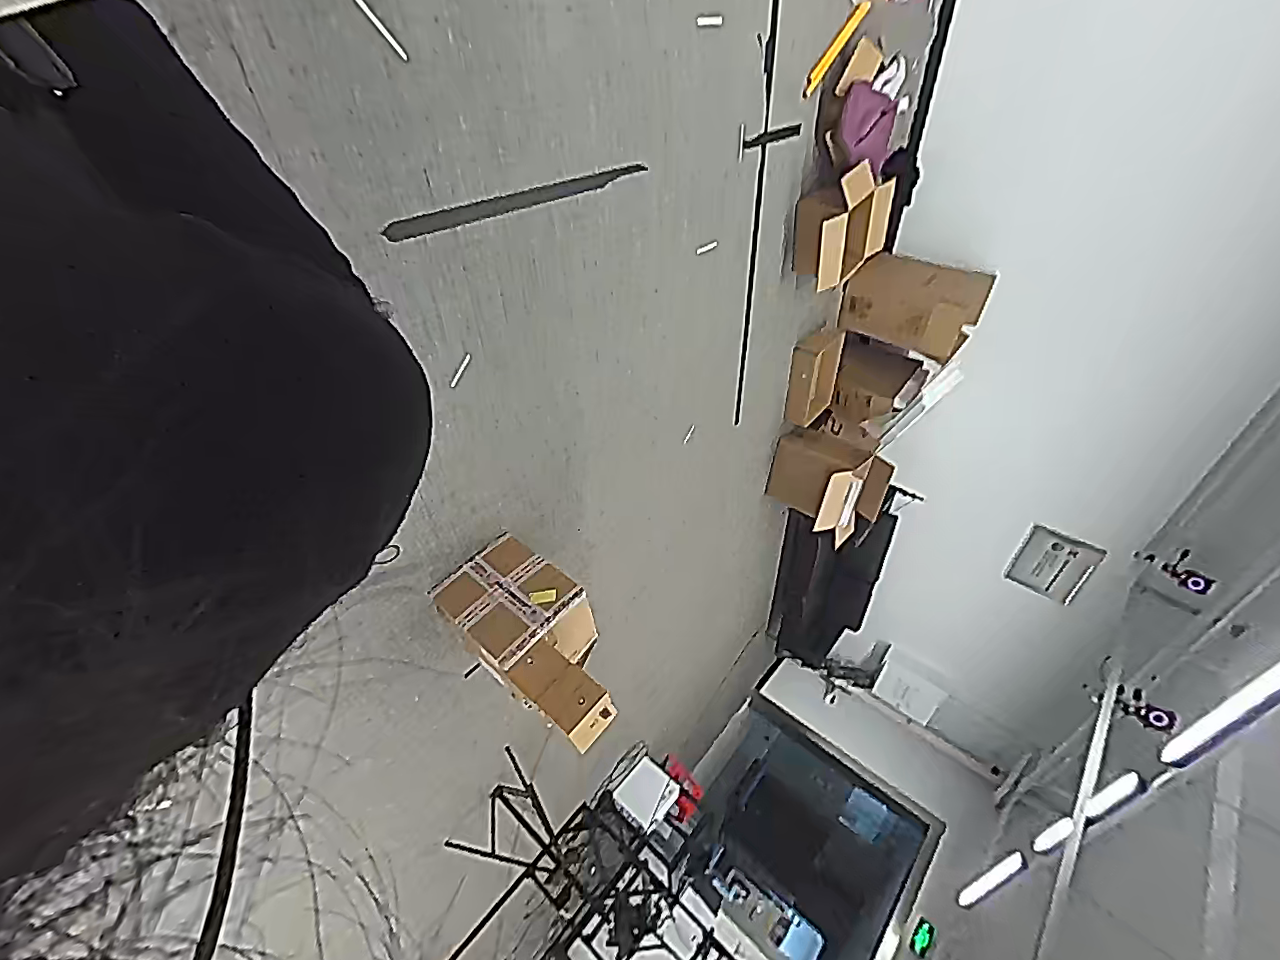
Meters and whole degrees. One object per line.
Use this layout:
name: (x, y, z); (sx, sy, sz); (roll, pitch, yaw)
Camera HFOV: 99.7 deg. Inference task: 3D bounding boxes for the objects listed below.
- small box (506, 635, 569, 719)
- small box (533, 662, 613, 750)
small box: (-0.342, 0.680, 1.876); (0.179, 0.176, 0.168); (-42, 140, -27)
small box: (-0.220, 0.737, 1.779); (0.179, 0.176, 0.168); (-43, 140, -27)
